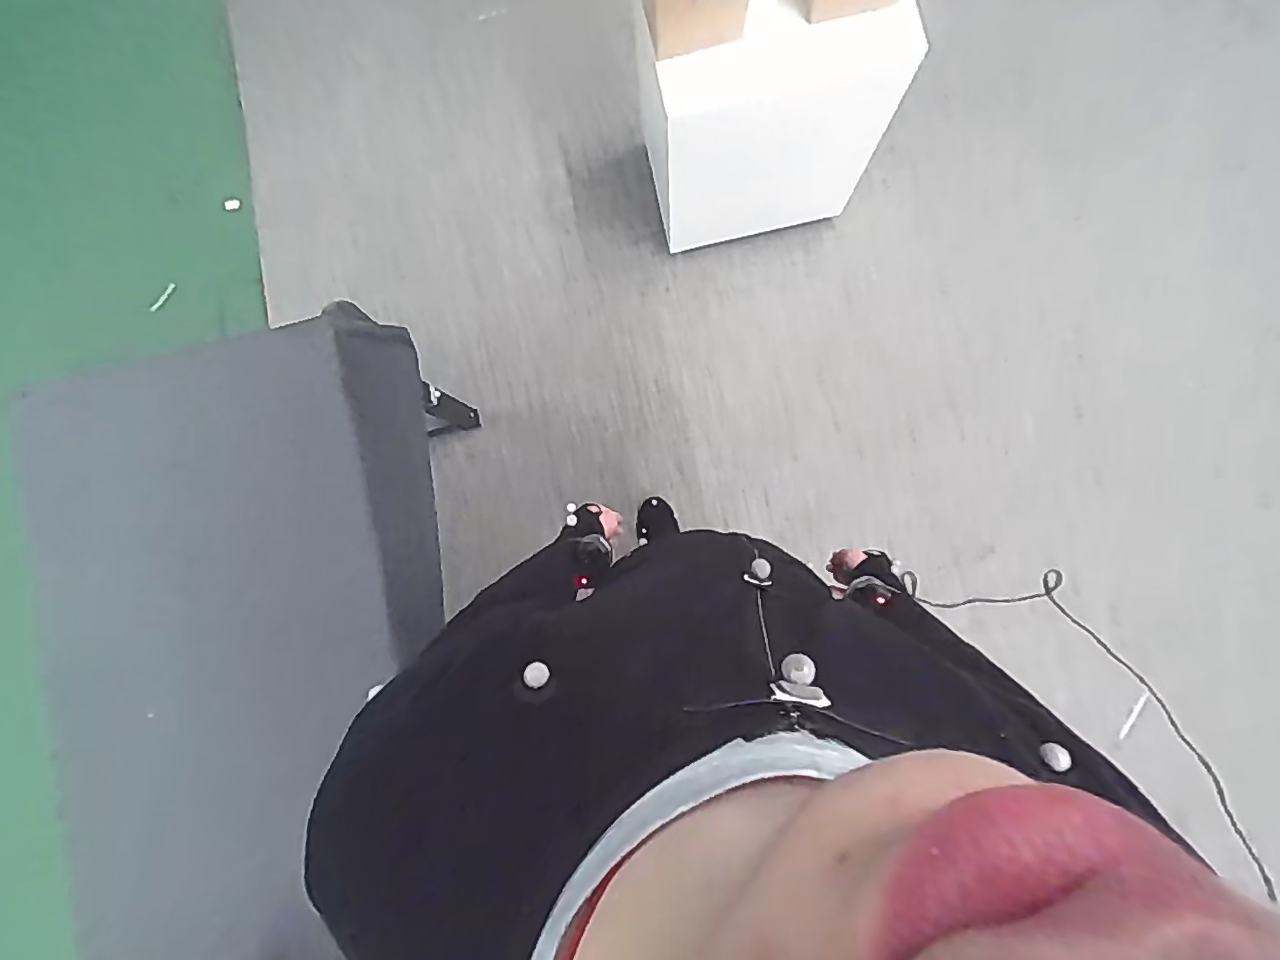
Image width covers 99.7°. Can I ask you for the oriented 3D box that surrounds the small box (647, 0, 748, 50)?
[{"bbox_3d":[0.096,-0.920,0.963,0.179,0.176,0.168,-13,85,1],"label":"small box"}]

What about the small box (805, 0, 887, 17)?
[{"bbox_3d":[0.389,-0.975,0.948,0.179,0.176,0.168,-10,85,5],"label":"small box"}]
